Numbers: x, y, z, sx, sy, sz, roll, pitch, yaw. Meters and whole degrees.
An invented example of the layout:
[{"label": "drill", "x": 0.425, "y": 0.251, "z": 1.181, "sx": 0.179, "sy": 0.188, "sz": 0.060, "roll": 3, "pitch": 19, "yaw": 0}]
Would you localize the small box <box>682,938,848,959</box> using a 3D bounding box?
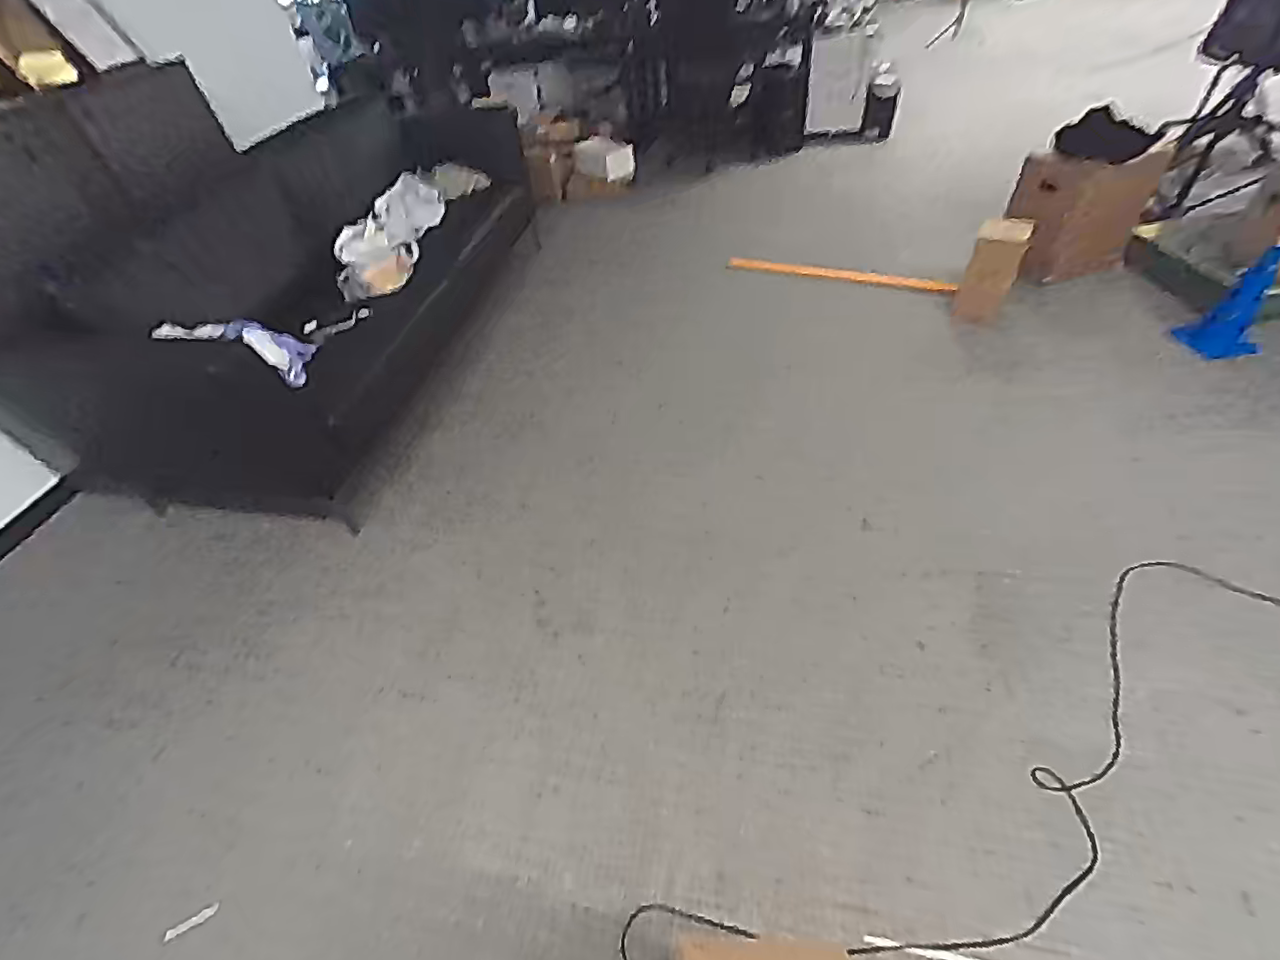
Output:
[{"label": "small box", "x": 0.130, "y": 0.539, "z": 0.467, "sx": 0.179, "sy": 0.176, "sz": 0.168, "roll": 5, "pitch": 75, "yaw": -1}]
